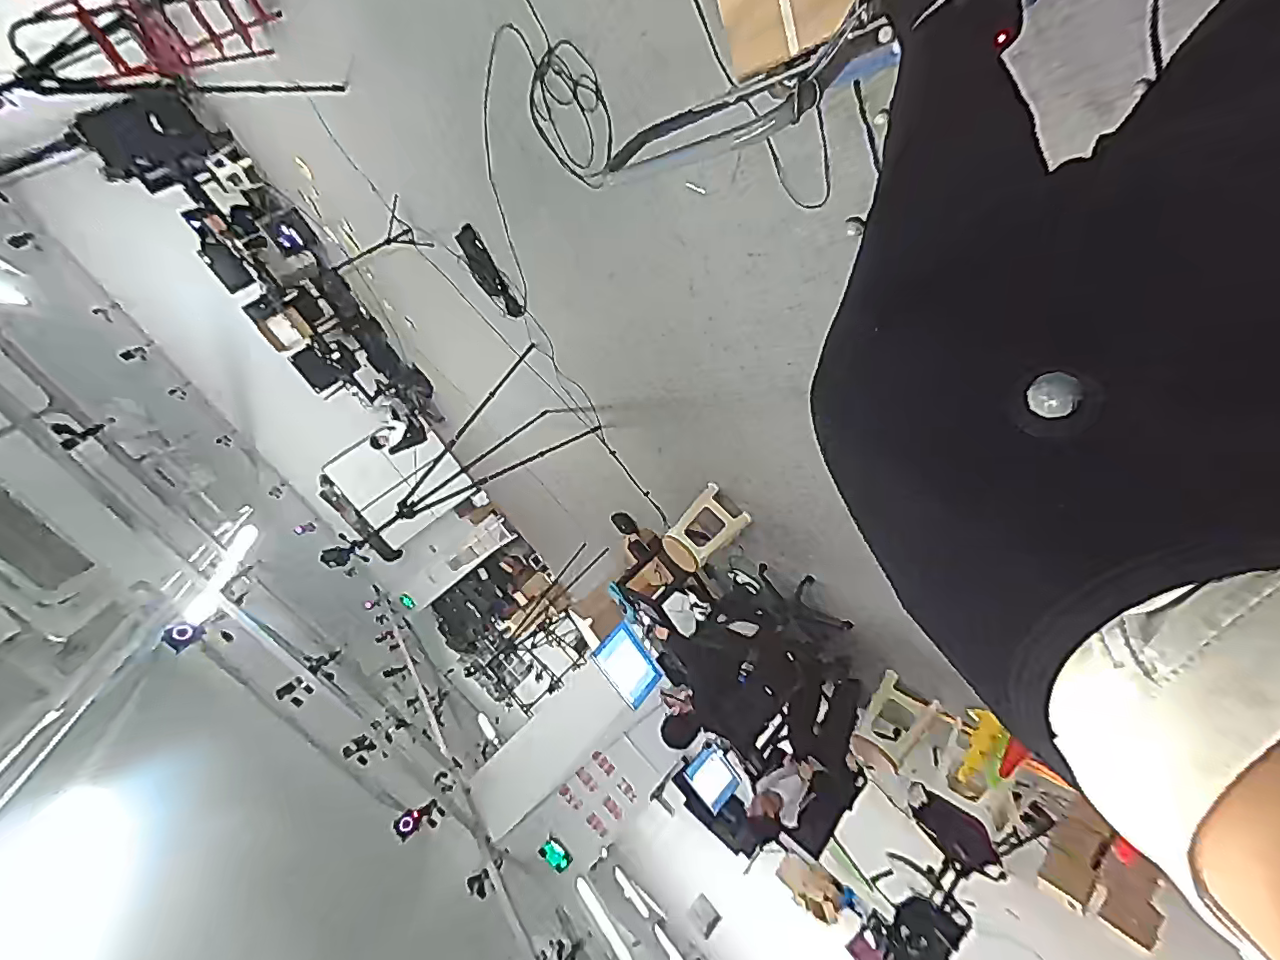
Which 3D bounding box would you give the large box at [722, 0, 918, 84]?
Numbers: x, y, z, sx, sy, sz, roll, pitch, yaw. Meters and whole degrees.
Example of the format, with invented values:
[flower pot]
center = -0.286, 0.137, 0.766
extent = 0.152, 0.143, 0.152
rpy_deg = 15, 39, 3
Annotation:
[large box]
center = 0.341, -1.053, 0.995
extent = 0.320, 0.320, 0.408
rpy_deg = 19, 143, 50
